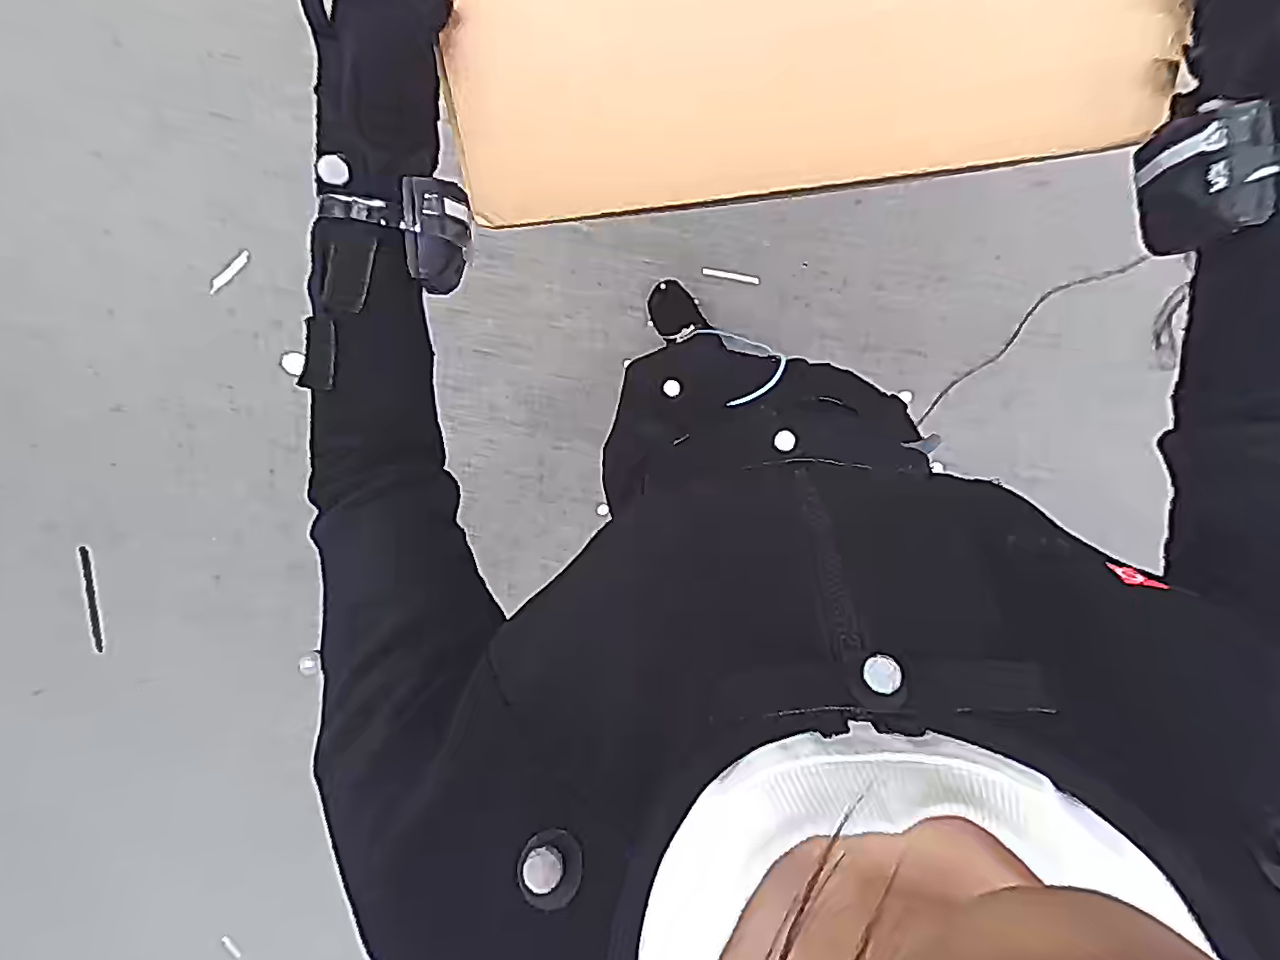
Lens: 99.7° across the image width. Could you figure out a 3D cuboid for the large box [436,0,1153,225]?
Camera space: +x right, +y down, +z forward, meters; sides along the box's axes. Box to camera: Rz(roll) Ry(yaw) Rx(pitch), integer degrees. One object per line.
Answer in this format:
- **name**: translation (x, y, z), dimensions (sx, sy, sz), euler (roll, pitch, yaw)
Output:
- **large box**: translation (0.082, -0.394, 0.413), dimensions (0.408, 0.320, 0.320), euler (-4, 116, 8)
